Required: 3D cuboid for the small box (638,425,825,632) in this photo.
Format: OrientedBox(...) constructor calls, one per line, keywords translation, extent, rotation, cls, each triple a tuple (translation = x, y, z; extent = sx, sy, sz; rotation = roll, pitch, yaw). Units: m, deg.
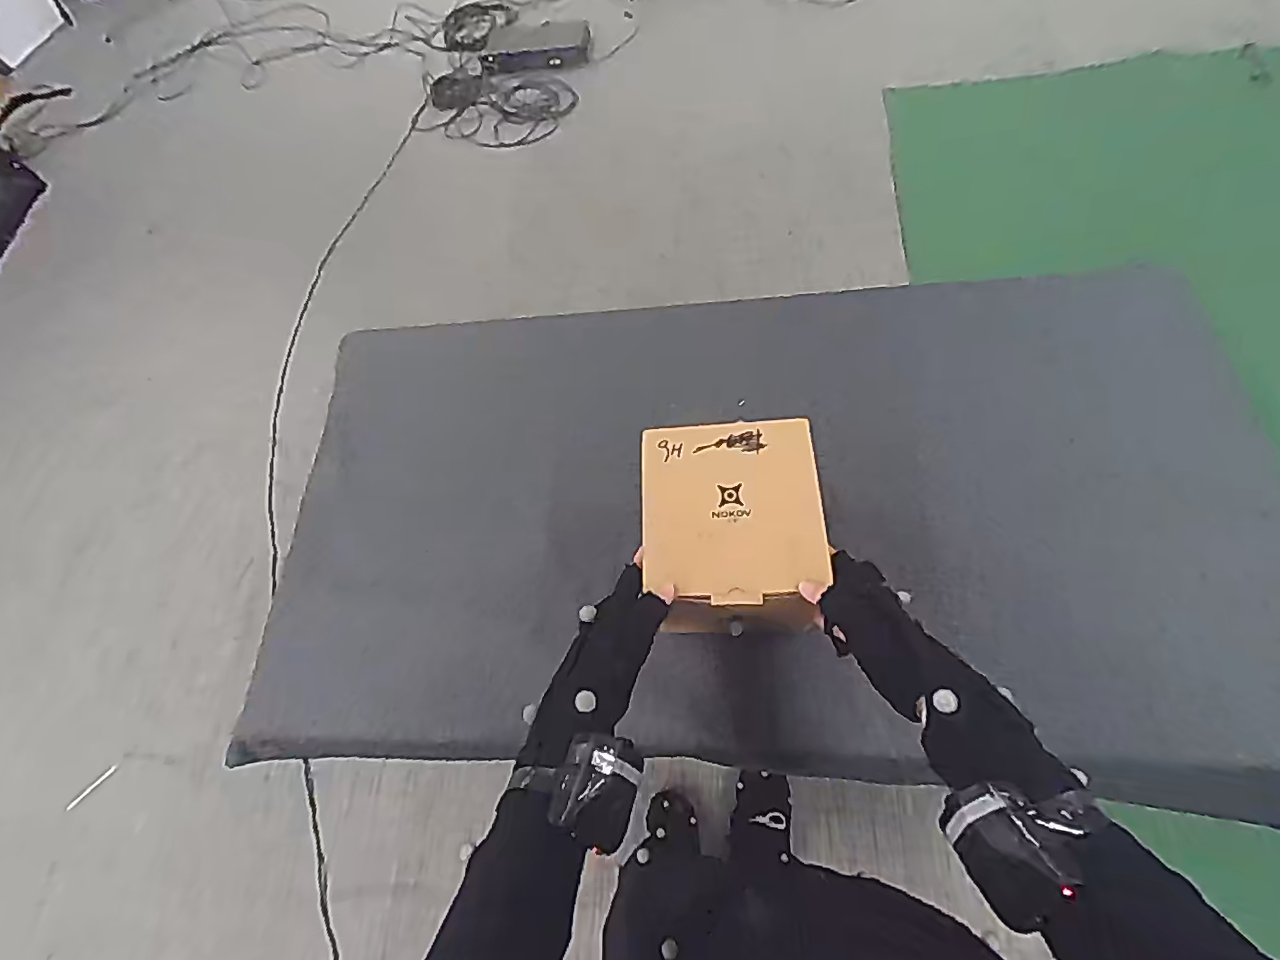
OrientedBox(translation=(0.093, 0.063, 0.575), extent=(0.168, 0.176, 0.179), rotation=(-4, 64, 8), cls="small box")
